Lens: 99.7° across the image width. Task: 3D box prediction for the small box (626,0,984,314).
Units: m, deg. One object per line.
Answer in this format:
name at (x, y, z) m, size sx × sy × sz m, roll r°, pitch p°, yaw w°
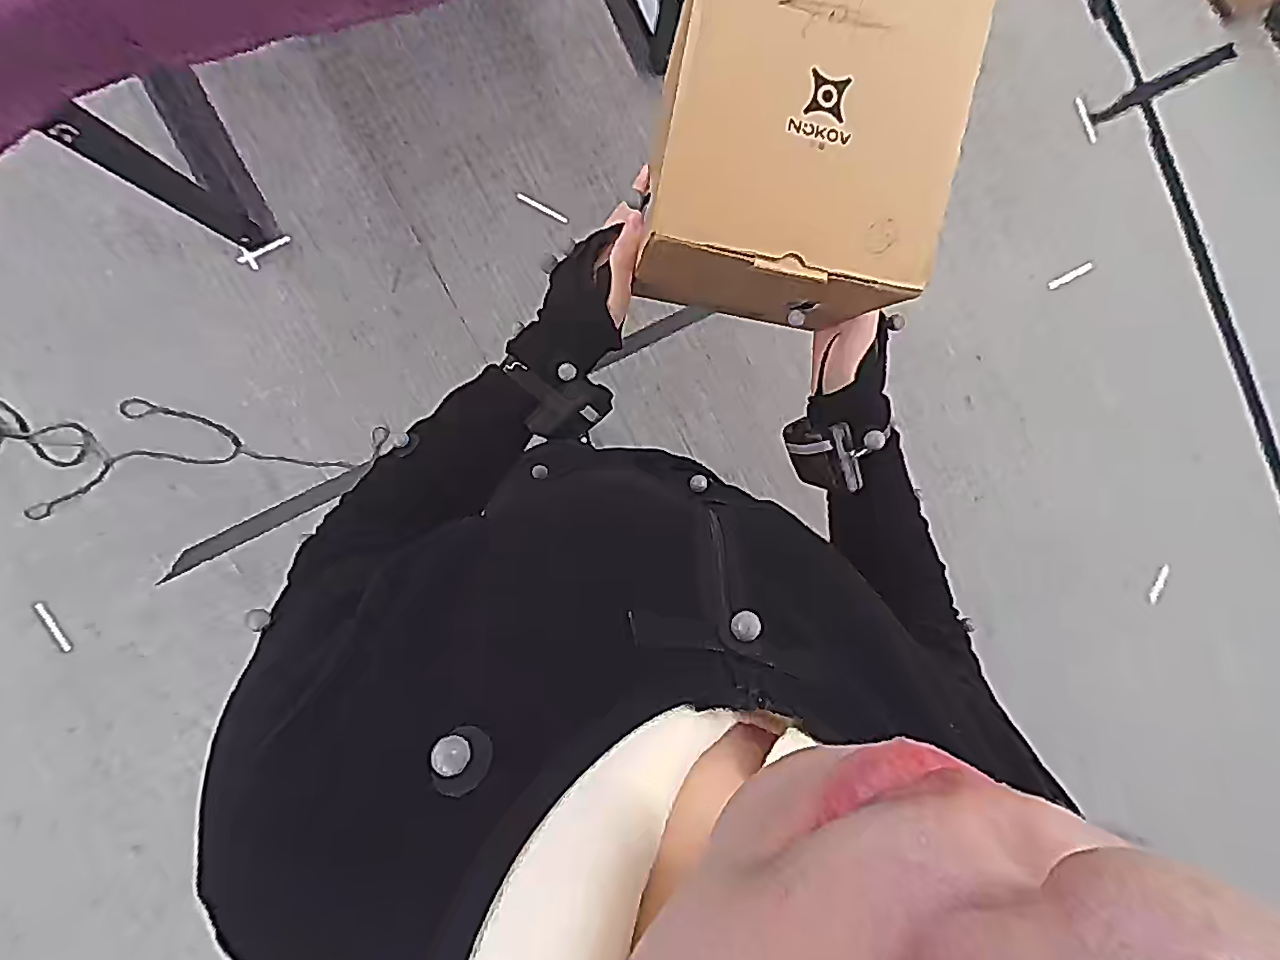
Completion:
small box at (0.086, -0.222, 0.370) m, size 0.168 × 0.176 × 0.179 m, roll 9°, pitch 98°, yaw -7°
